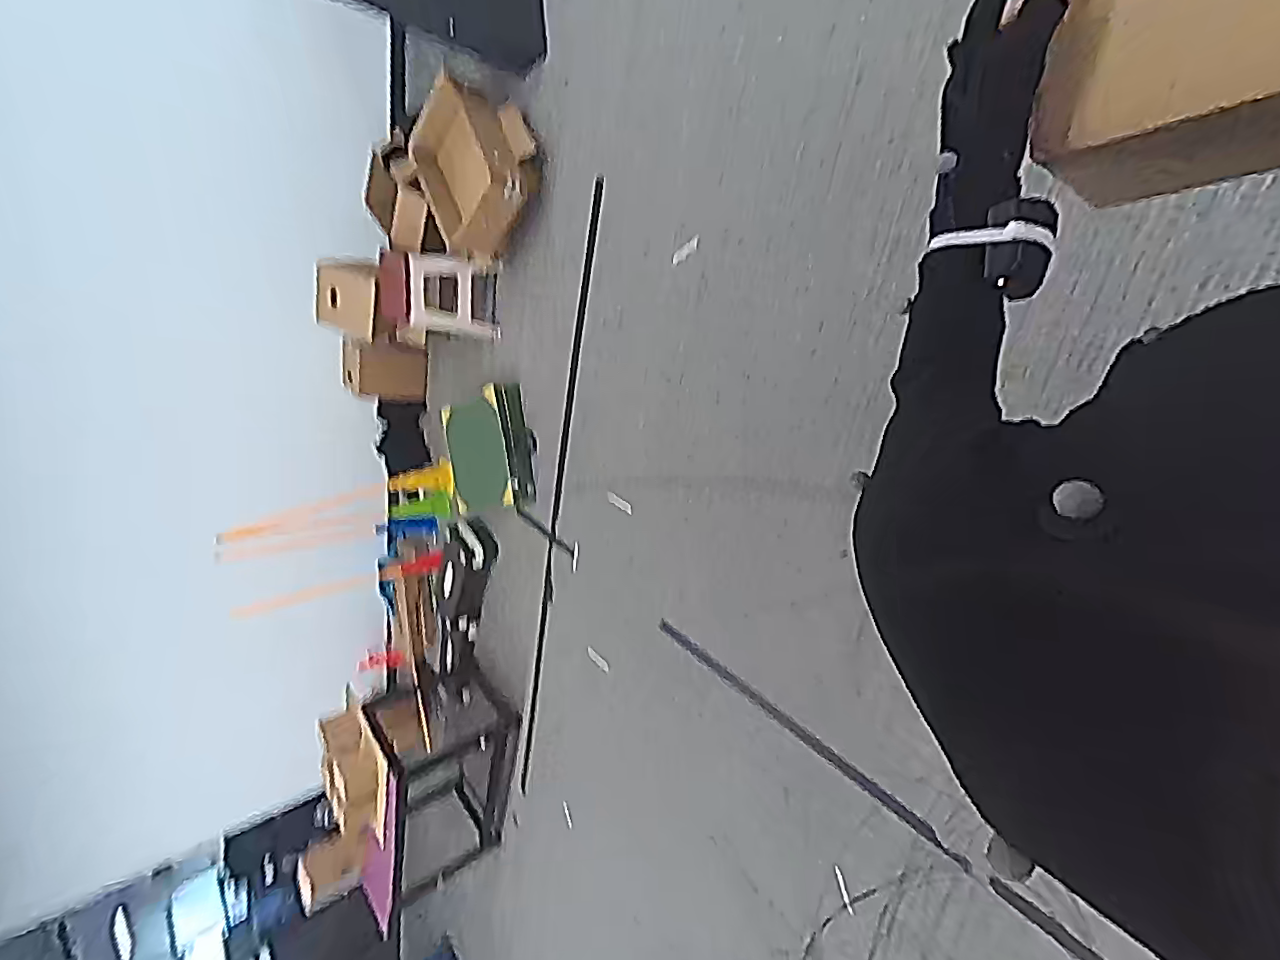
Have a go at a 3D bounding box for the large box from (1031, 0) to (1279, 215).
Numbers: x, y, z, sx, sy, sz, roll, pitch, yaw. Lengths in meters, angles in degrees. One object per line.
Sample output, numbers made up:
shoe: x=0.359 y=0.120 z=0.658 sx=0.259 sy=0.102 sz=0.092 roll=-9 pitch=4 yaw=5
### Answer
large box: x=0.545 y=-0.426 z=0.380 sx=0.408 sy=0.320 sz=0.320 roll=4 pitch=105 yaw=46
